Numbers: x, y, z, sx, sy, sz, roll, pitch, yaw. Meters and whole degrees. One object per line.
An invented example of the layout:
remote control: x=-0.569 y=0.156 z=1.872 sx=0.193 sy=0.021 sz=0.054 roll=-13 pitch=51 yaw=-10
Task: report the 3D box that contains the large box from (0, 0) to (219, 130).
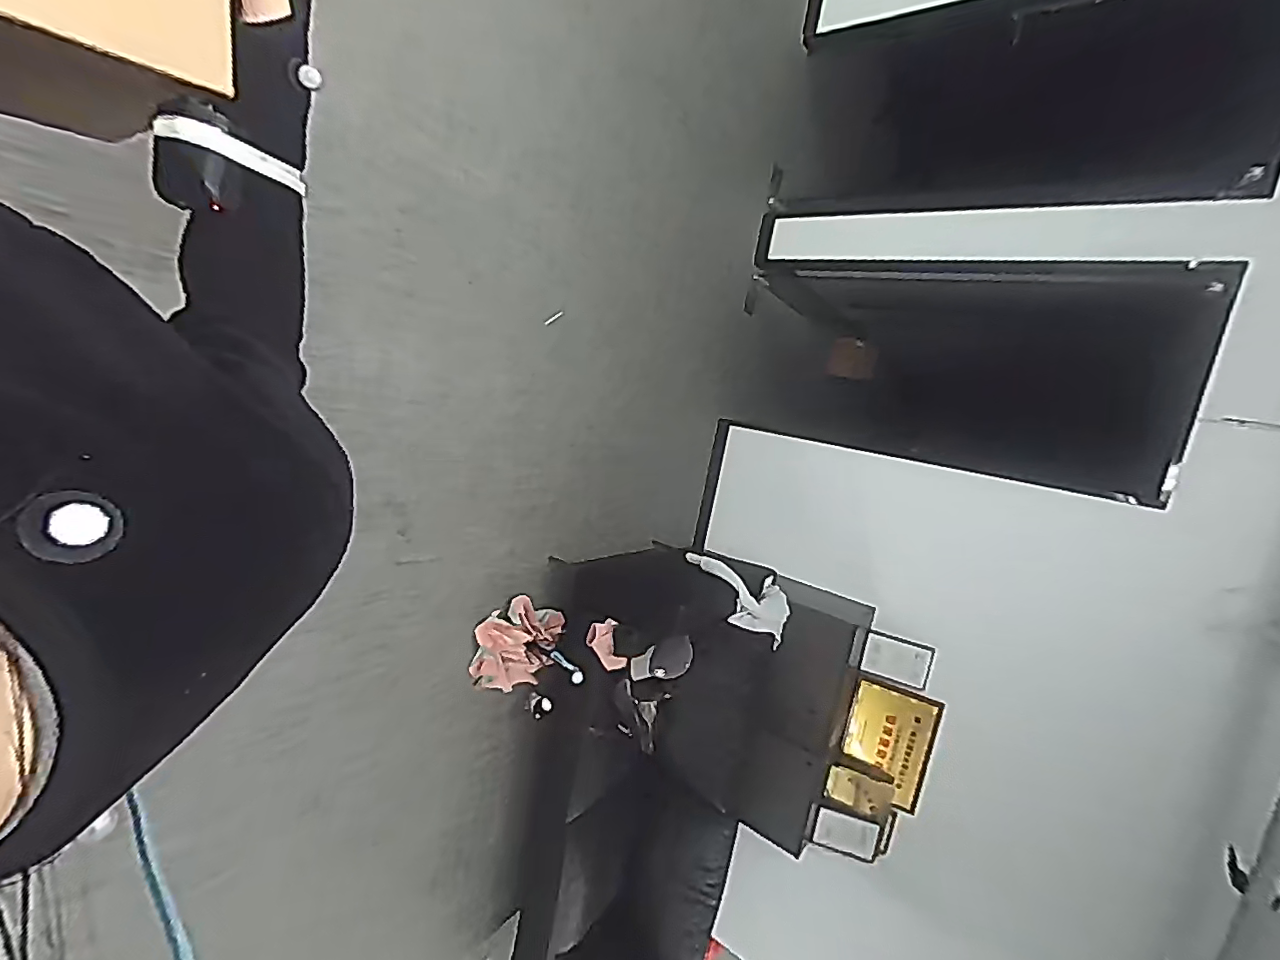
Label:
large box: x=-0.511 y=-0.423 z=0.267 sx=0.408 sy=0.320 sz=0.320 roll=-12 pitch=114 yaw=-52
